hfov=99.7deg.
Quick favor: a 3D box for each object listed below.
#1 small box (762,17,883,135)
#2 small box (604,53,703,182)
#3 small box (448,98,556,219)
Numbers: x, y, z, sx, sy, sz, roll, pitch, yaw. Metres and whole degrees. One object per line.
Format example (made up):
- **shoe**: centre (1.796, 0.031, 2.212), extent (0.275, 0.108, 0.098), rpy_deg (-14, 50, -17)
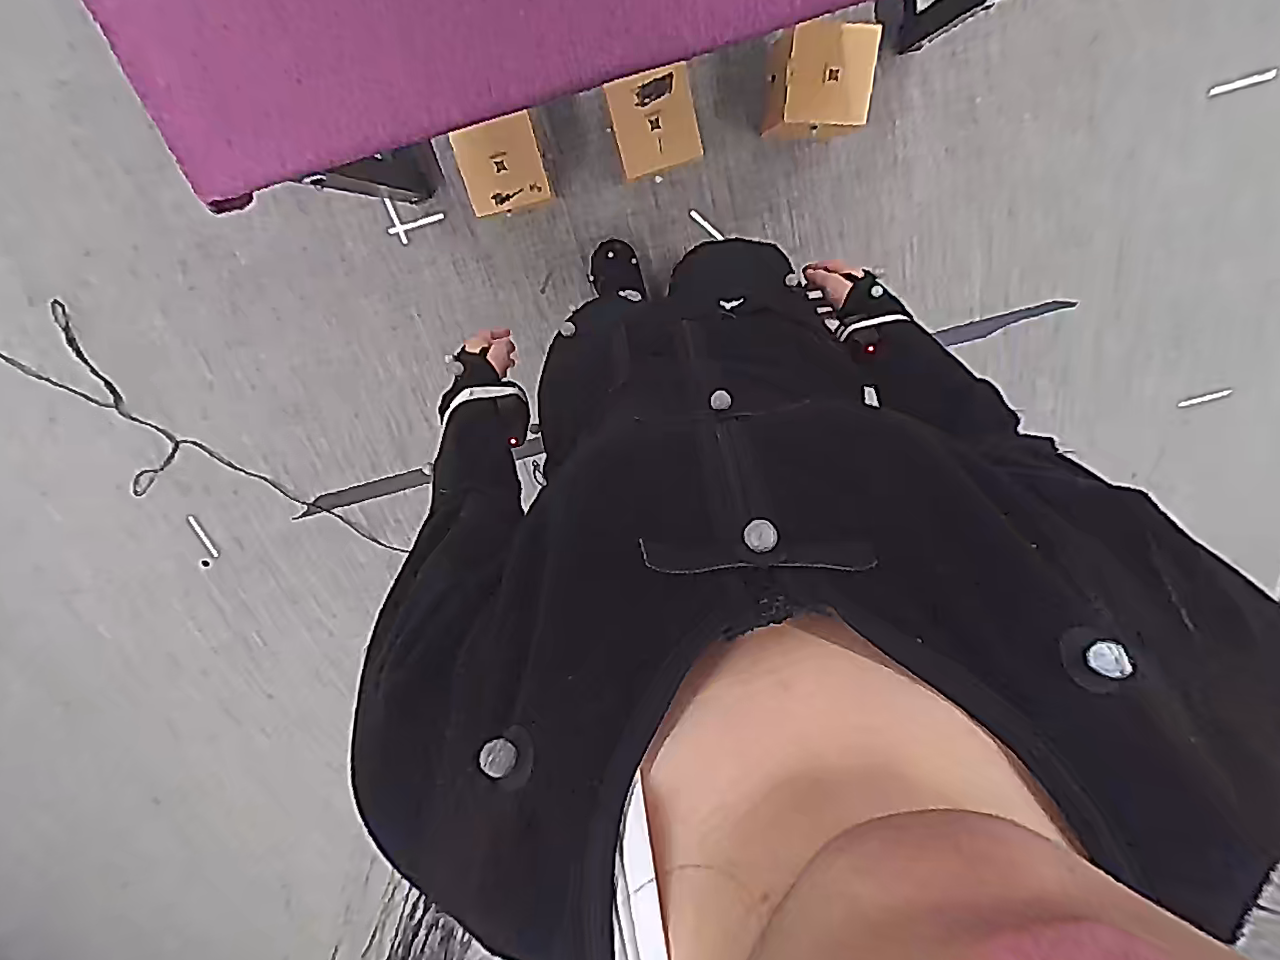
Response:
- **small box**: centre (0.371, -0.831, 1.130), extent (0.179, 0.176, 0.168), rpy_deg (0, 114, -3)
- **small box**: centre (0.023, -0.750, 1.138), extent (0.168, 0.176, 0.179), rpy_deg (-16, 115, 3)
- **small box**: centre (-0.284, -0.672, 1.151), extent (0.168, 0.176, 0.179), rpy_deg (-14, 113, 2)
